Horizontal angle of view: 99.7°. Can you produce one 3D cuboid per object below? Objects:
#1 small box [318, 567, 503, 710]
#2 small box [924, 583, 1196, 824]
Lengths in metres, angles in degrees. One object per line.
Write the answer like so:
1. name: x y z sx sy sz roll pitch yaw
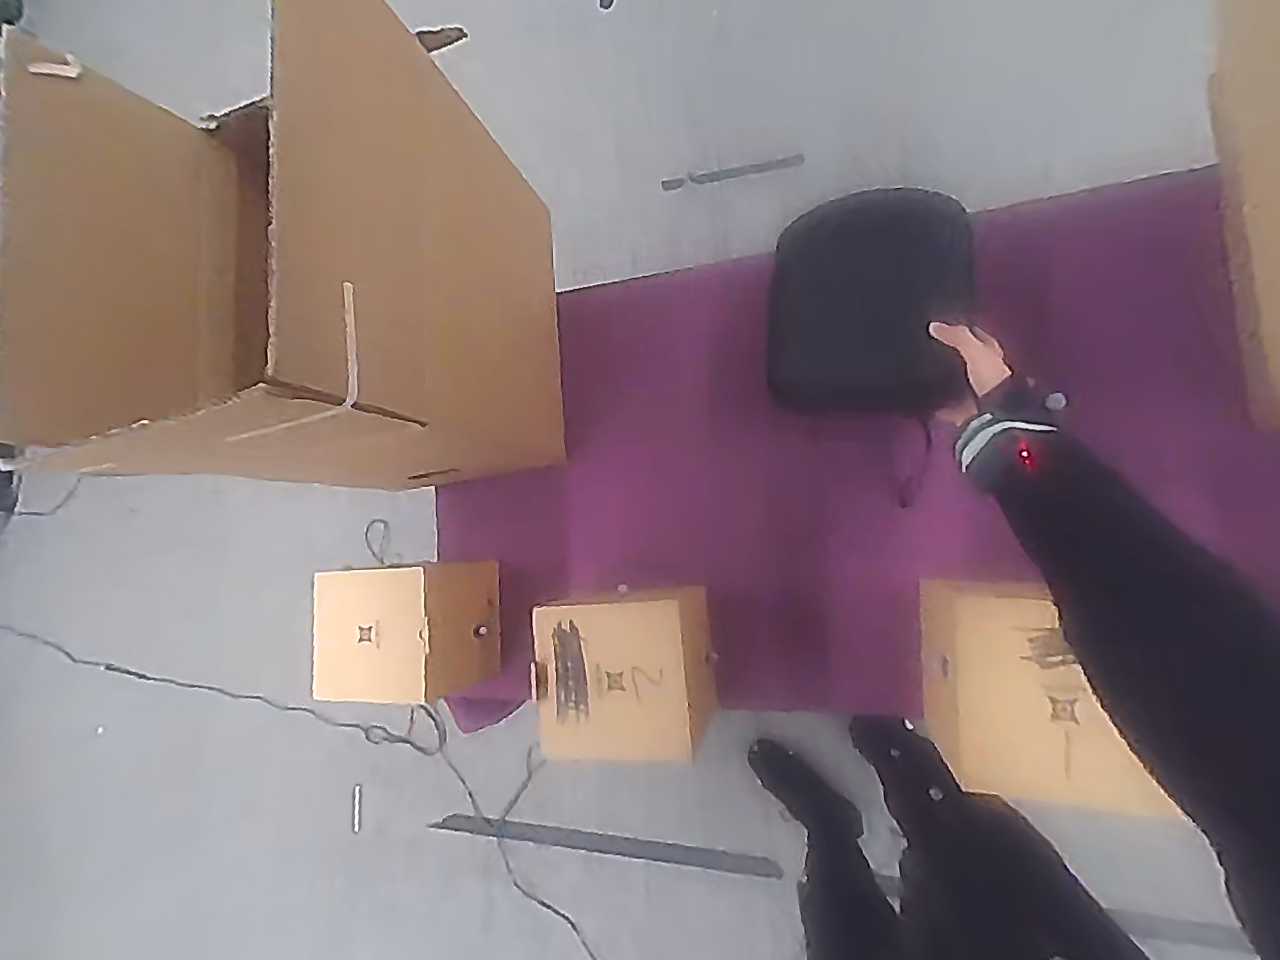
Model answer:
1. small box: -0.313 0.212 0.758 0.179 0.176 0.168 -6 83 16
2. small box: 0.391 0.198 0.539 0.168 0.176 0.179 -1 85 18
